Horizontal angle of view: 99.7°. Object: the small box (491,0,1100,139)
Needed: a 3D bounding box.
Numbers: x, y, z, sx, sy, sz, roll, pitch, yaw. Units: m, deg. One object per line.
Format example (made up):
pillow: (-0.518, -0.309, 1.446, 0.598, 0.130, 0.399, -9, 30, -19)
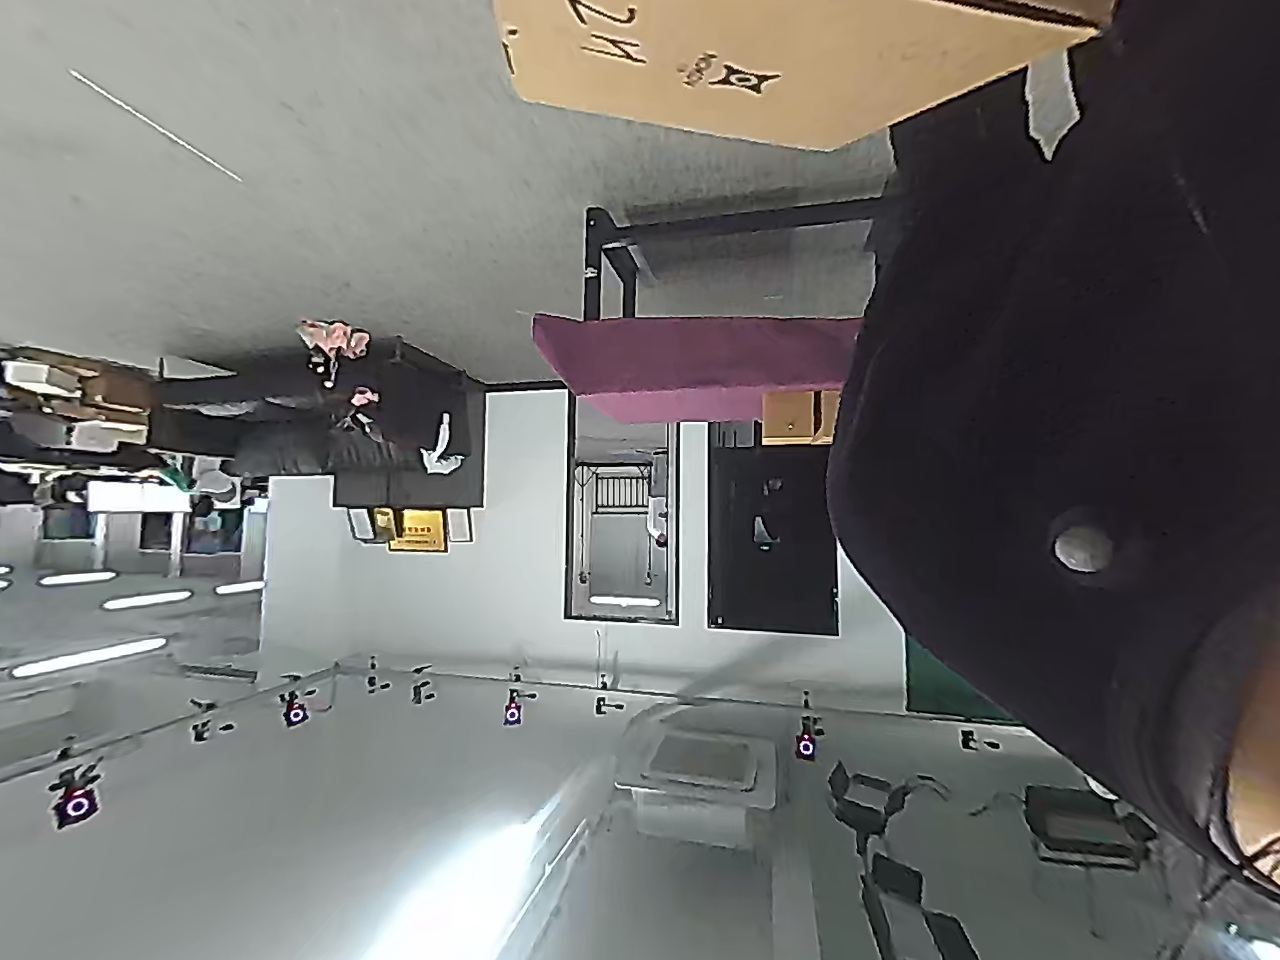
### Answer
small box: (0.042, -0.240, 0.177, 0.179, 0.176, 0.168, 4, -161, -12)
